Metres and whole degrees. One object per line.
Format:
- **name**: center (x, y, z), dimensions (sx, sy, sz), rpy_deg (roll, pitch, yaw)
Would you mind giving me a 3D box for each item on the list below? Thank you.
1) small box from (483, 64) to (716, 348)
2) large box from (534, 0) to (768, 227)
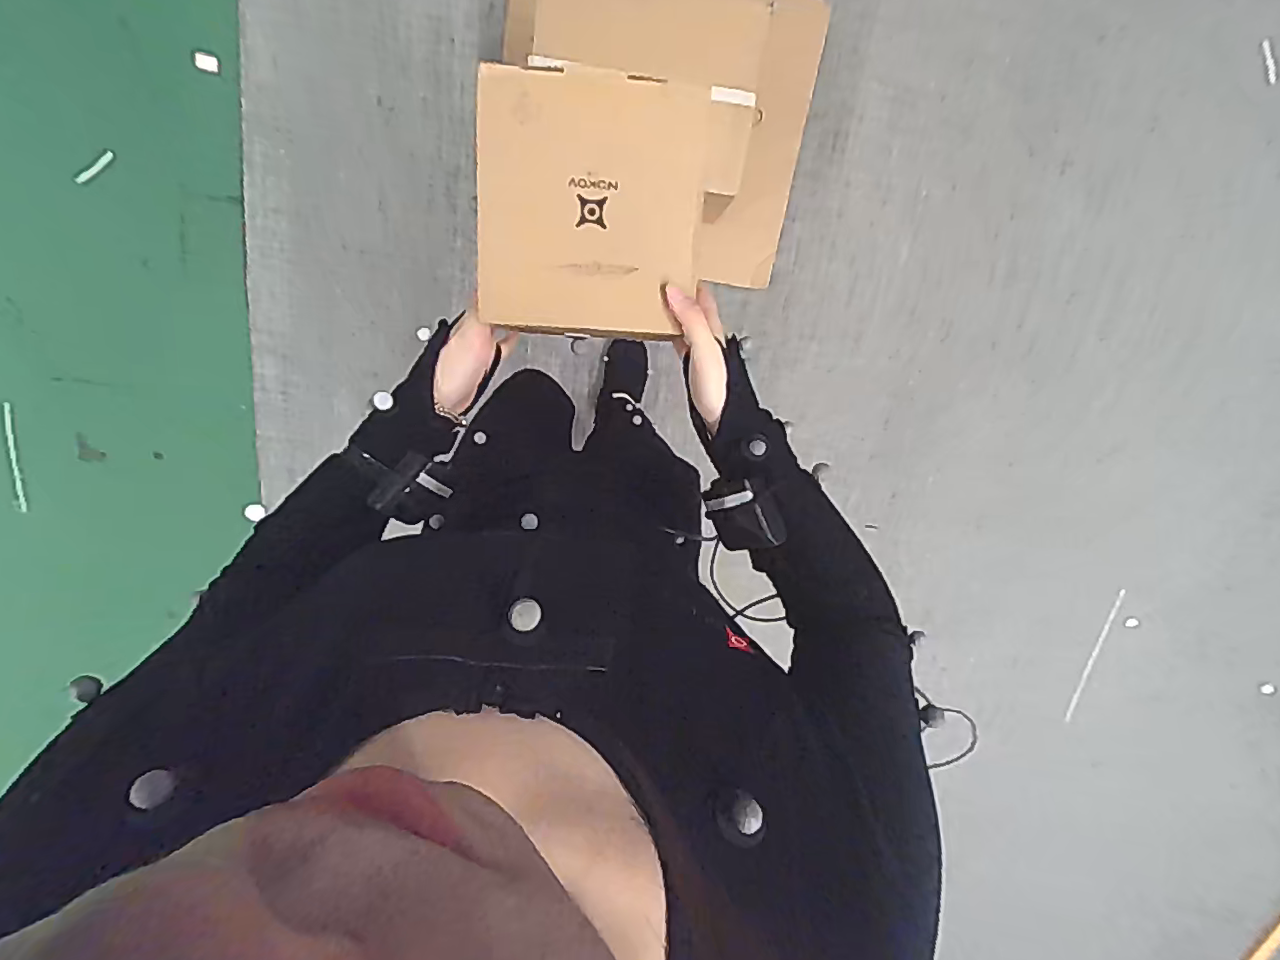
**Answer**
- **small box**: center (-0.037, -0.215, 0.475), dimensions (0.168, 0.176, 0.179), rpy_deg (3, 101, -5)
- **large box**: center (0.000, -0.736, 1.106), dimensions (0.408, 0.320, 0.320), rpy_deg (7, 107, -4)
